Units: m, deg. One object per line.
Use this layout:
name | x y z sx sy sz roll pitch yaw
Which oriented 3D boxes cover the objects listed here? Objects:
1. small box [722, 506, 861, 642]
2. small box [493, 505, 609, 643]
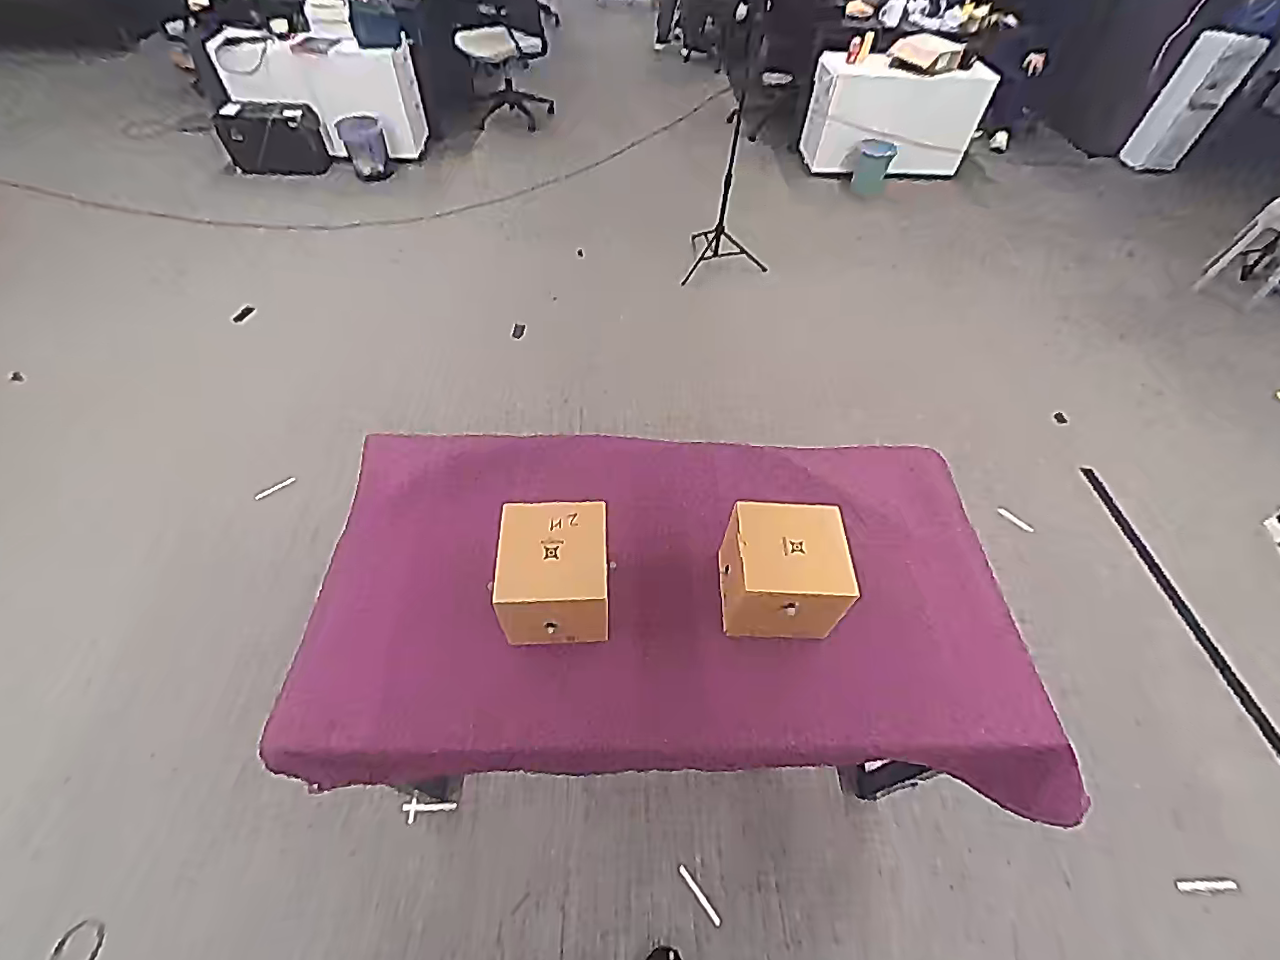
small box | 0.240 0.162 0.907 0.179 0.176 0.168 3 52 0
small box | -0.134 0.159 0.885 0.168 0.176 0.179 0 52 -4
